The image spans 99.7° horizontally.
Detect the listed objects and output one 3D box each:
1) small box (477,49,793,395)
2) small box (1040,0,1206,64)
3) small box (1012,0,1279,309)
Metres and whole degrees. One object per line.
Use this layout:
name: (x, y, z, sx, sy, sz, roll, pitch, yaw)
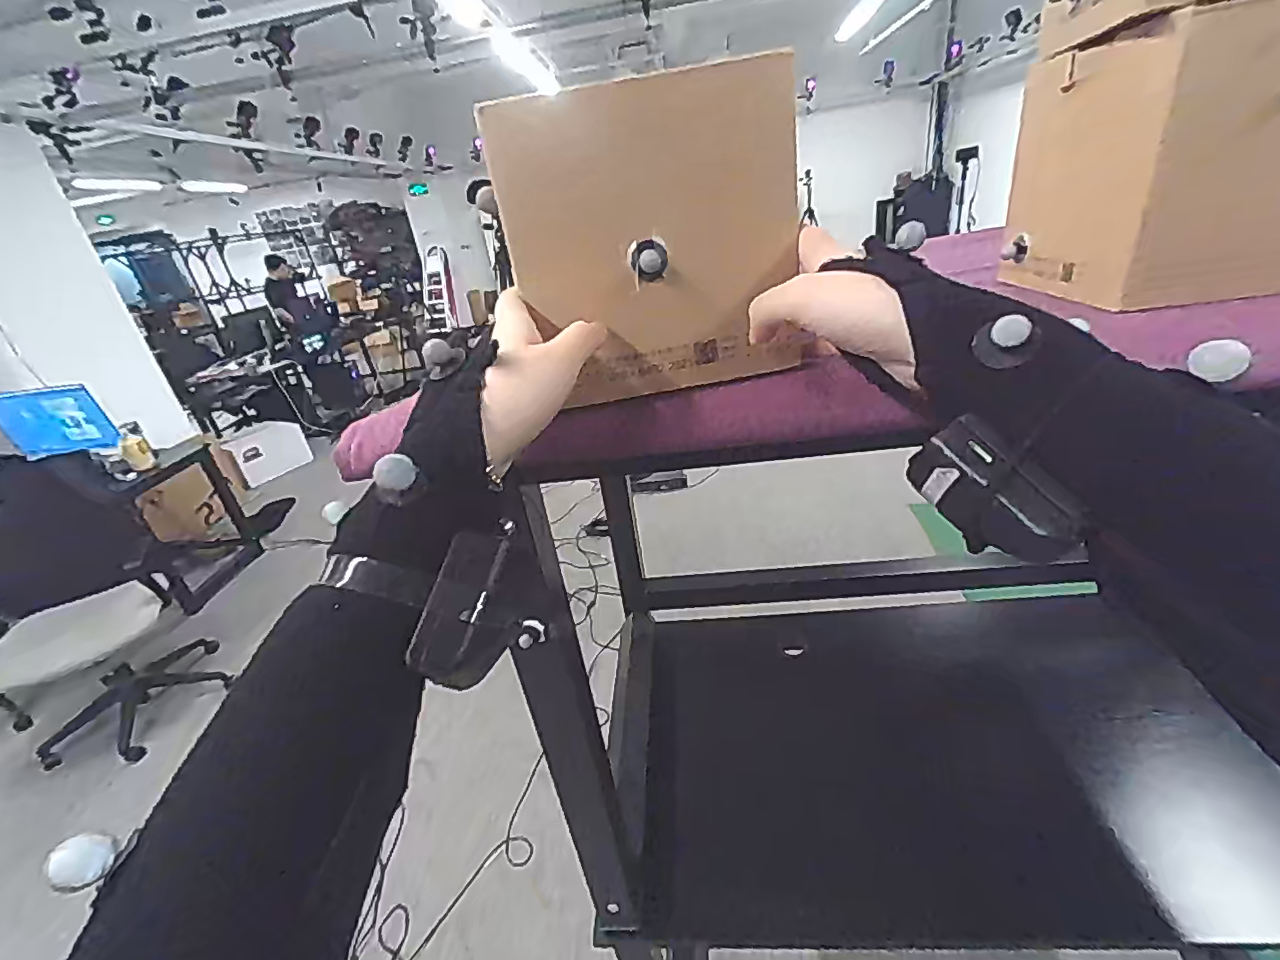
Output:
small box: (0.003, -0.166, 0.381, 0.168, 0.176, 0.179, -9, 27, 0)
small box: (0.373, -0.368, 0.314, 0.179, 0.176, 0.168, -1, 27, 17)
small box: (0.400, -0.226, 0.387, 0.179, 0.176, 0.168, -4, 28, 8)
